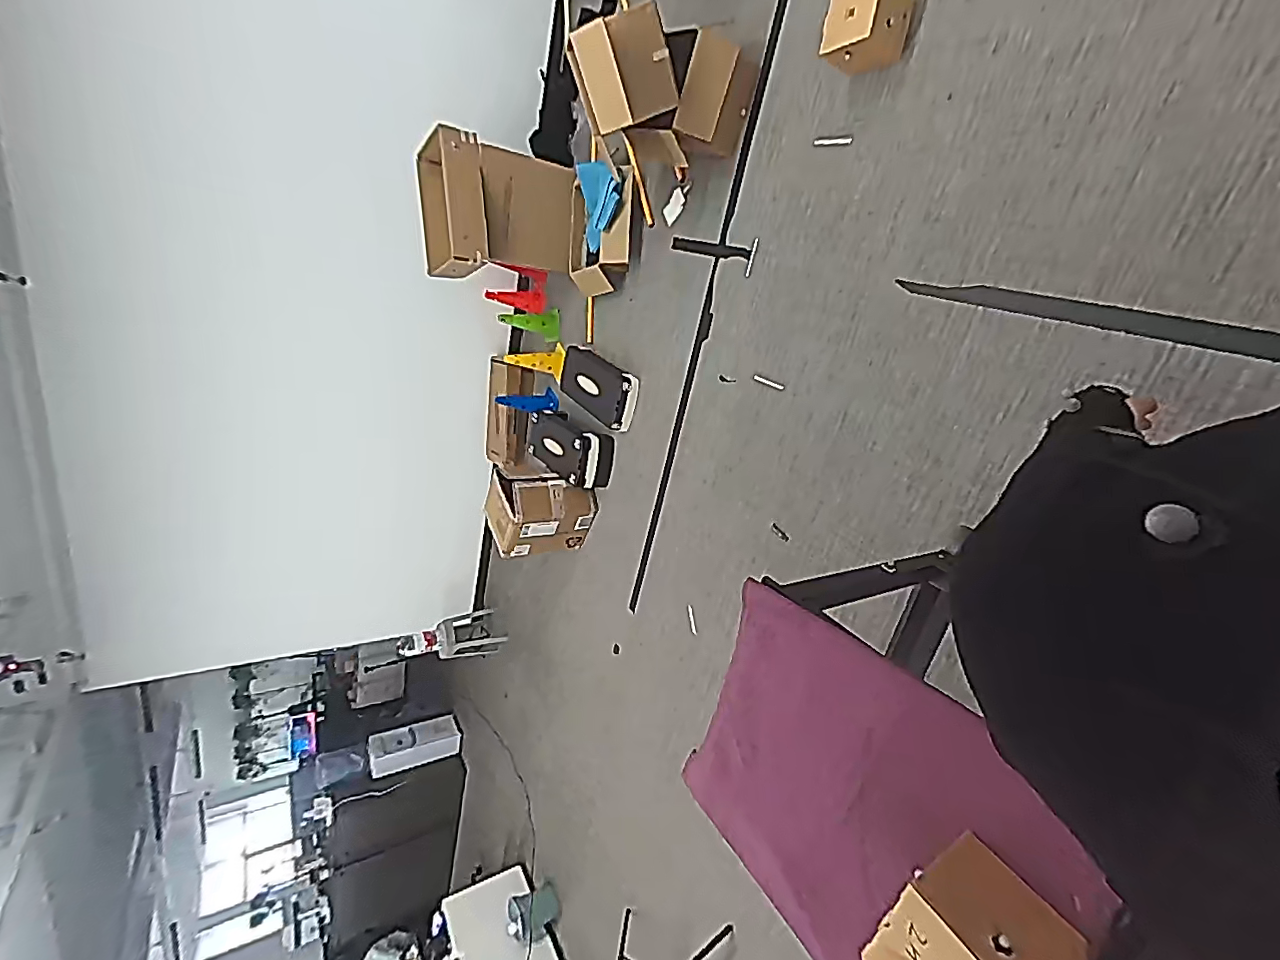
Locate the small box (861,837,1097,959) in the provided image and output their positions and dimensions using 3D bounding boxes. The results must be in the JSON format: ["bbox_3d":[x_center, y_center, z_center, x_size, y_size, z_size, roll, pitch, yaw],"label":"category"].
[{"bbox_3d":[0.432,0.613,0.695,0.179,0.176,0.168,41,123,47],"label":"small box"}]

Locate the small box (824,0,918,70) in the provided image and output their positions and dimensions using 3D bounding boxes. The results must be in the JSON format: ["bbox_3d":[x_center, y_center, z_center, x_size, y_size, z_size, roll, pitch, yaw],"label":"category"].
[{"bbox_3d":[0.672,-1.334,1.565,0.179,0.176,0.168,29,114,52],"label":"small box"}]
